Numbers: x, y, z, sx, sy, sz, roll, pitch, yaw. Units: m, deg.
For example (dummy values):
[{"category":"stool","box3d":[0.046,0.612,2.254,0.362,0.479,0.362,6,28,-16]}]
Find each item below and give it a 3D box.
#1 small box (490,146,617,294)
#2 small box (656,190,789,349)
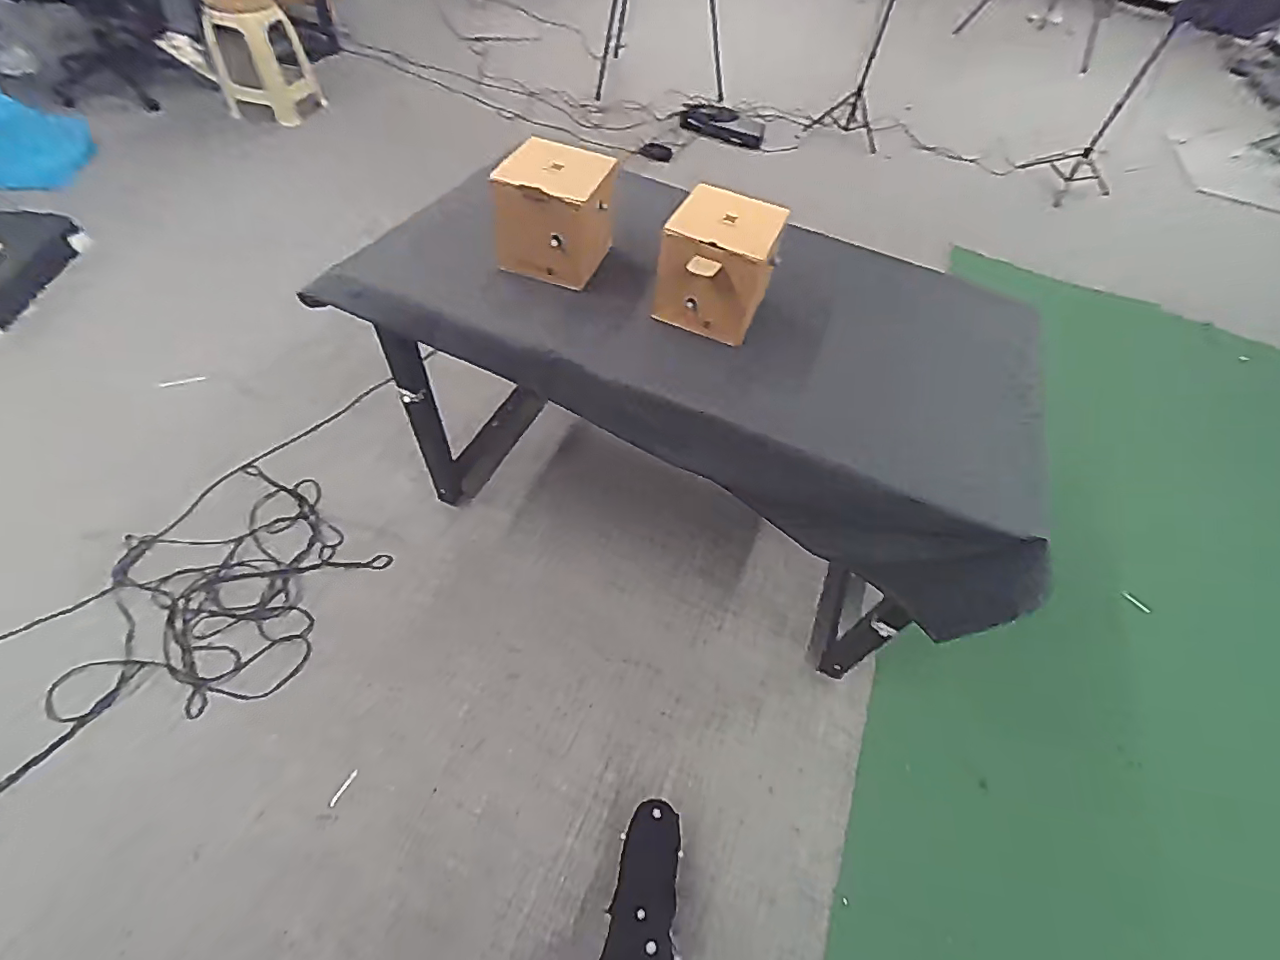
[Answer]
[{"category":"small box","box3d":[-0.150,-0.467,0.980,0.168,0.176,0.179,18,52,5]},{"category":"small box","box3d":[0.136,-0.361,0.935,0.168,0.176,0.179,22,54,9]}]
